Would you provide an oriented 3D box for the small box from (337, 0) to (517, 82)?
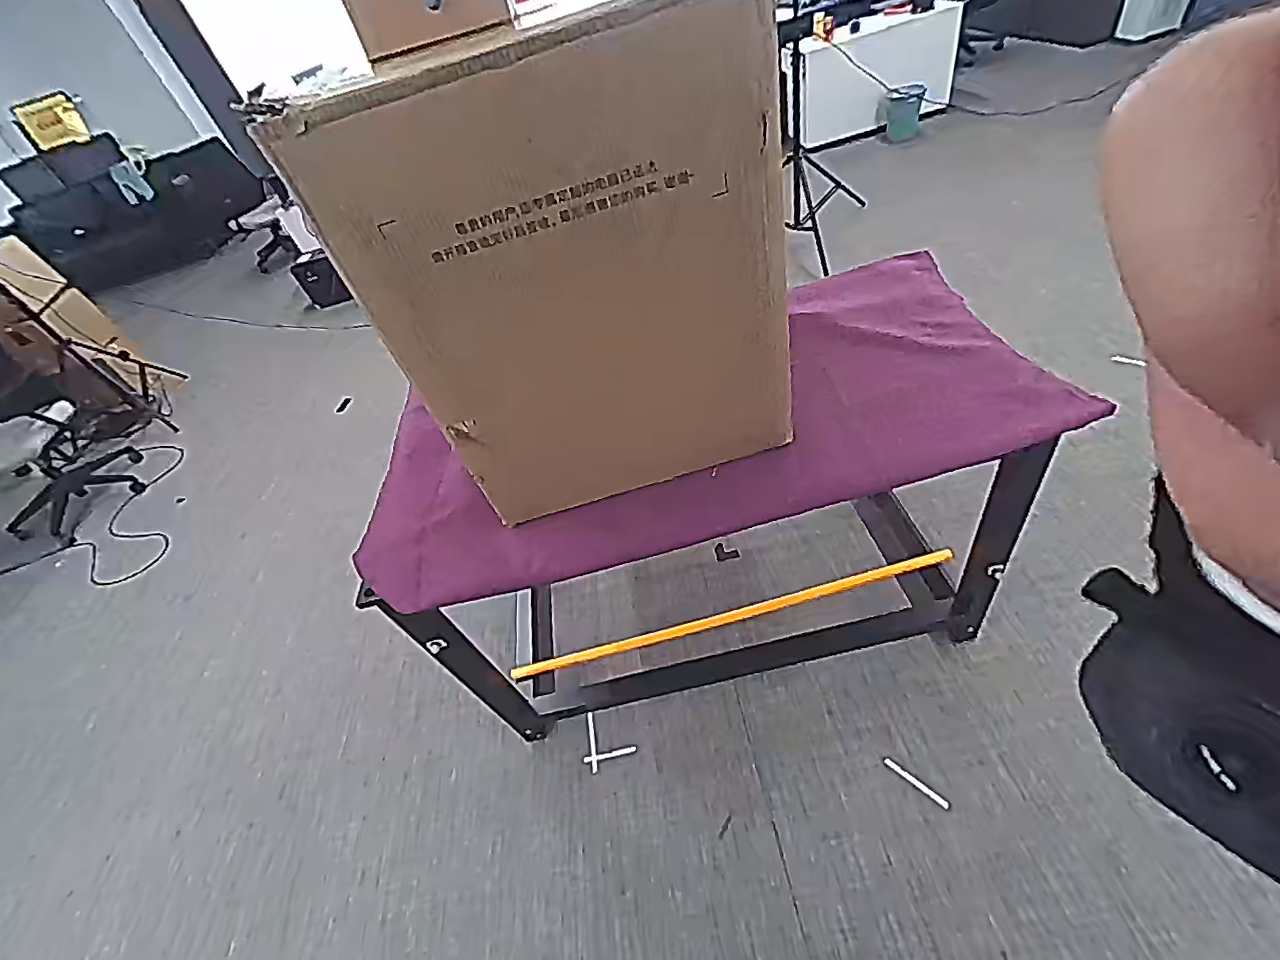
[{"bbox_3d":[-0.256,-0.592,0.621,0.179,0.176,0.168,-14,45,3],"label":"small box"}]
